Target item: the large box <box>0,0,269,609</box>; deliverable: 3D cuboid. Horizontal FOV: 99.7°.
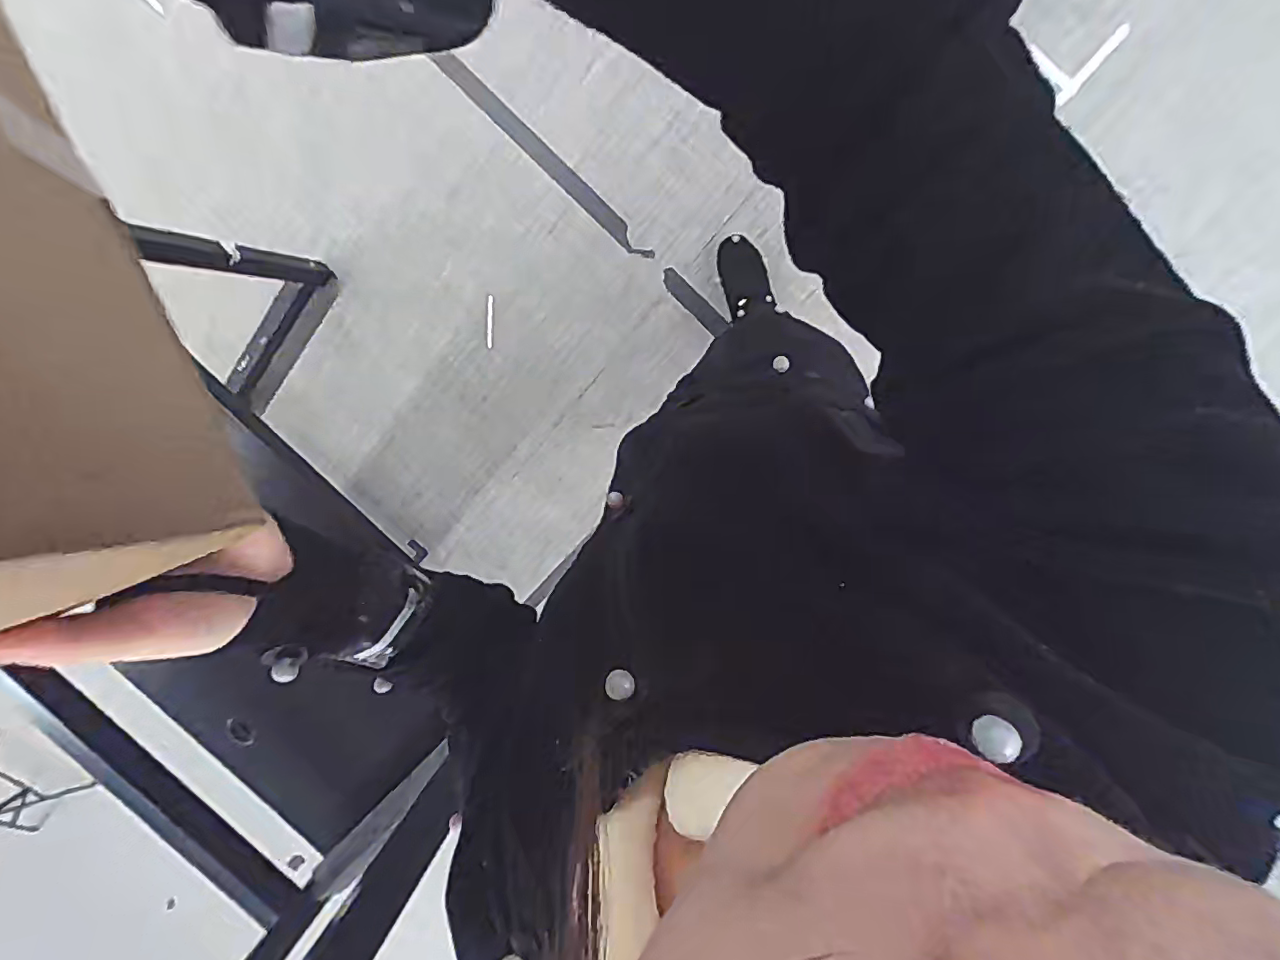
[{"bbox_3d":[-0.350,-0.051,0.026,0.408,0.320,0.320,-24,93,-11],"label":"large box"}]
